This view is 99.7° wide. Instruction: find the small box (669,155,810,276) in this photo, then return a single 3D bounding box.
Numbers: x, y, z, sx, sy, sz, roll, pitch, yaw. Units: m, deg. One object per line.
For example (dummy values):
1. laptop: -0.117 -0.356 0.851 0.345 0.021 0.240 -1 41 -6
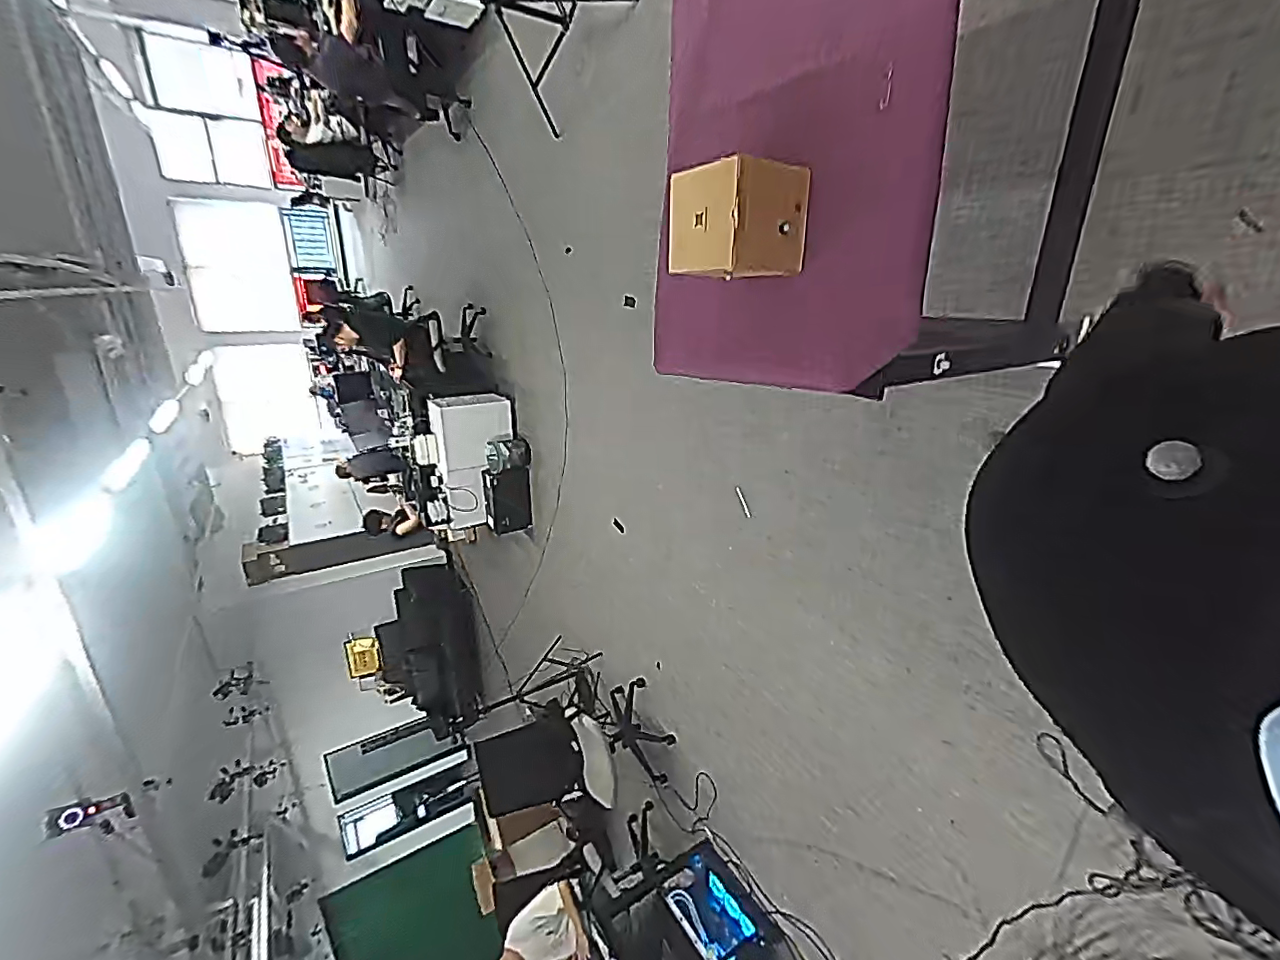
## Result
1. small box: 0.172 -0.455 0.959 0.179 0.176 0.168 25 120 52
